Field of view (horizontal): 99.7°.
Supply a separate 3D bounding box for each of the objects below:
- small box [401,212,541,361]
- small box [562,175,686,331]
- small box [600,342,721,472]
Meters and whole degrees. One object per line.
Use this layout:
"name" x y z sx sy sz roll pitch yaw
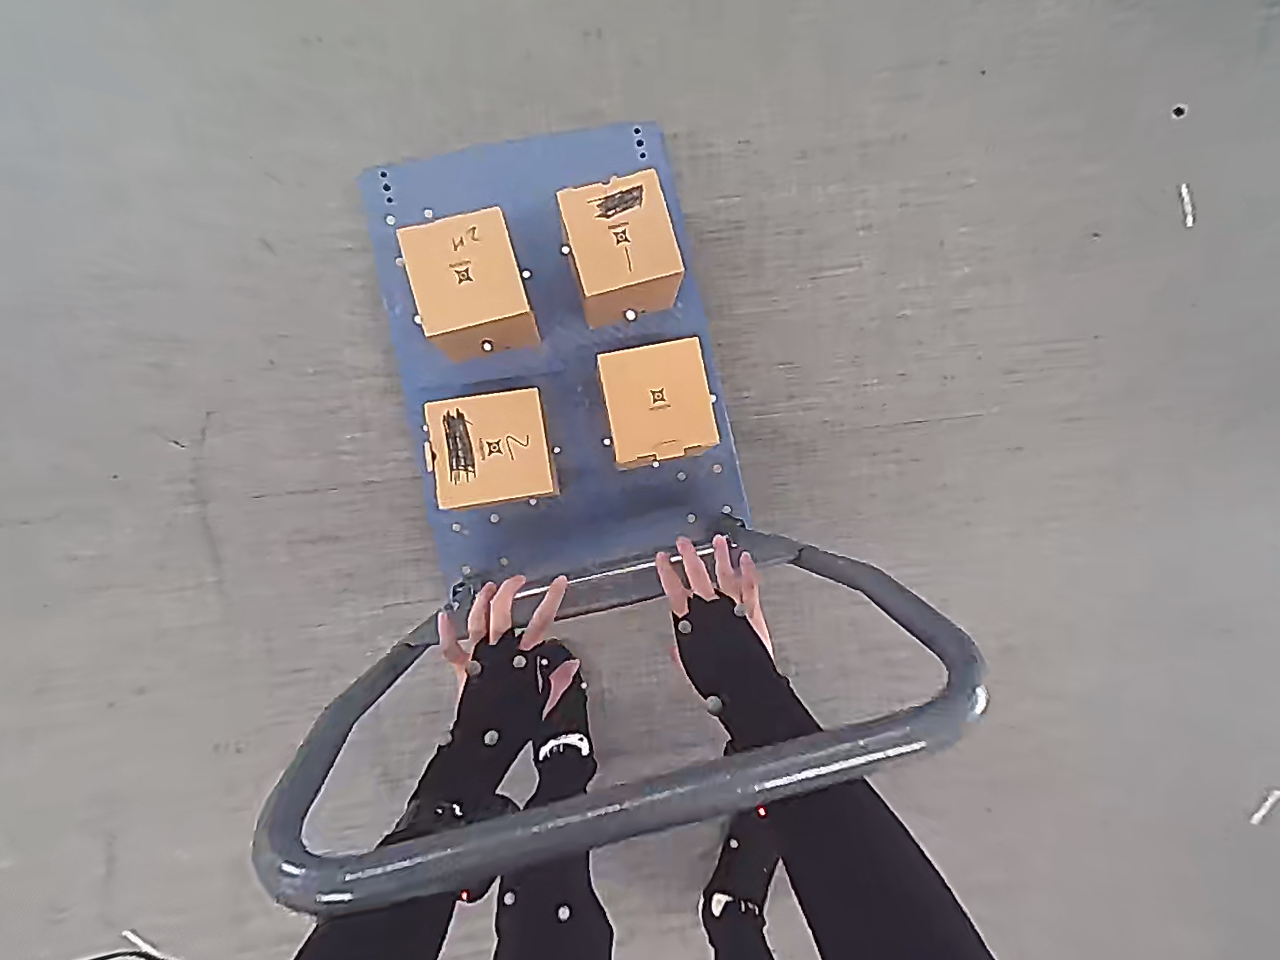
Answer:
"small box" -0.273 -0.311 0.912 0.168 0.176 0.179 -15 88 -5
"small box" -0.031 -0.380 0.932 0.168 0.176 0.179 -16 89 -4
"small box" 0.026 -0.116 0.925 0.168 0.176 0.179 -11 89 -5
